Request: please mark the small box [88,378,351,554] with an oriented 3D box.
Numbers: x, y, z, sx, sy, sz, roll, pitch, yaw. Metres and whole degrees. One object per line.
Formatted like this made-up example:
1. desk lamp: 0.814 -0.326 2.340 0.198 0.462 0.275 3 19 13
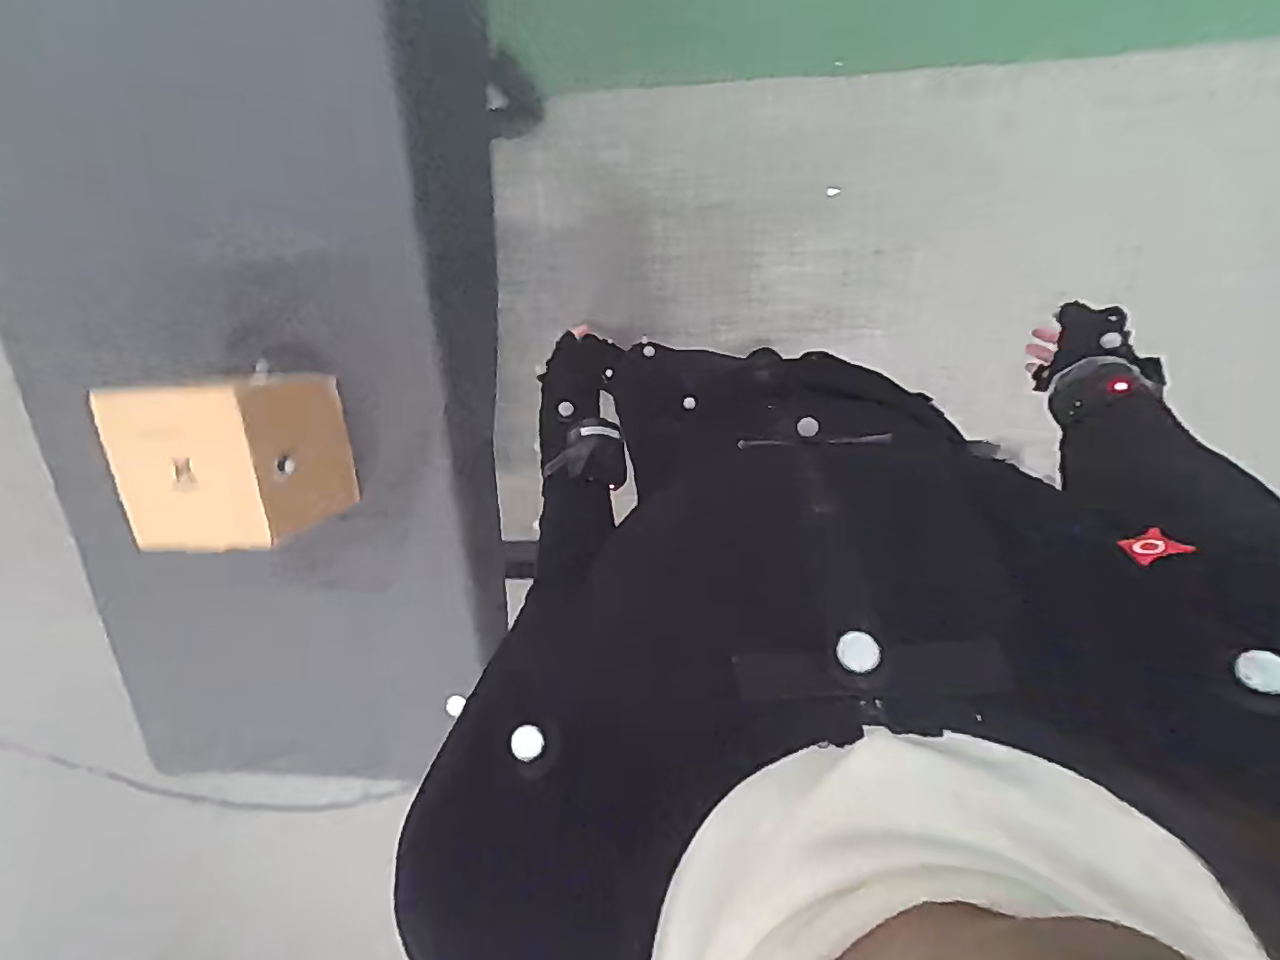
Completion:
1. small box: -0.480 -0.024 0.652 0.168 0.176 0.179 -2 105 6
